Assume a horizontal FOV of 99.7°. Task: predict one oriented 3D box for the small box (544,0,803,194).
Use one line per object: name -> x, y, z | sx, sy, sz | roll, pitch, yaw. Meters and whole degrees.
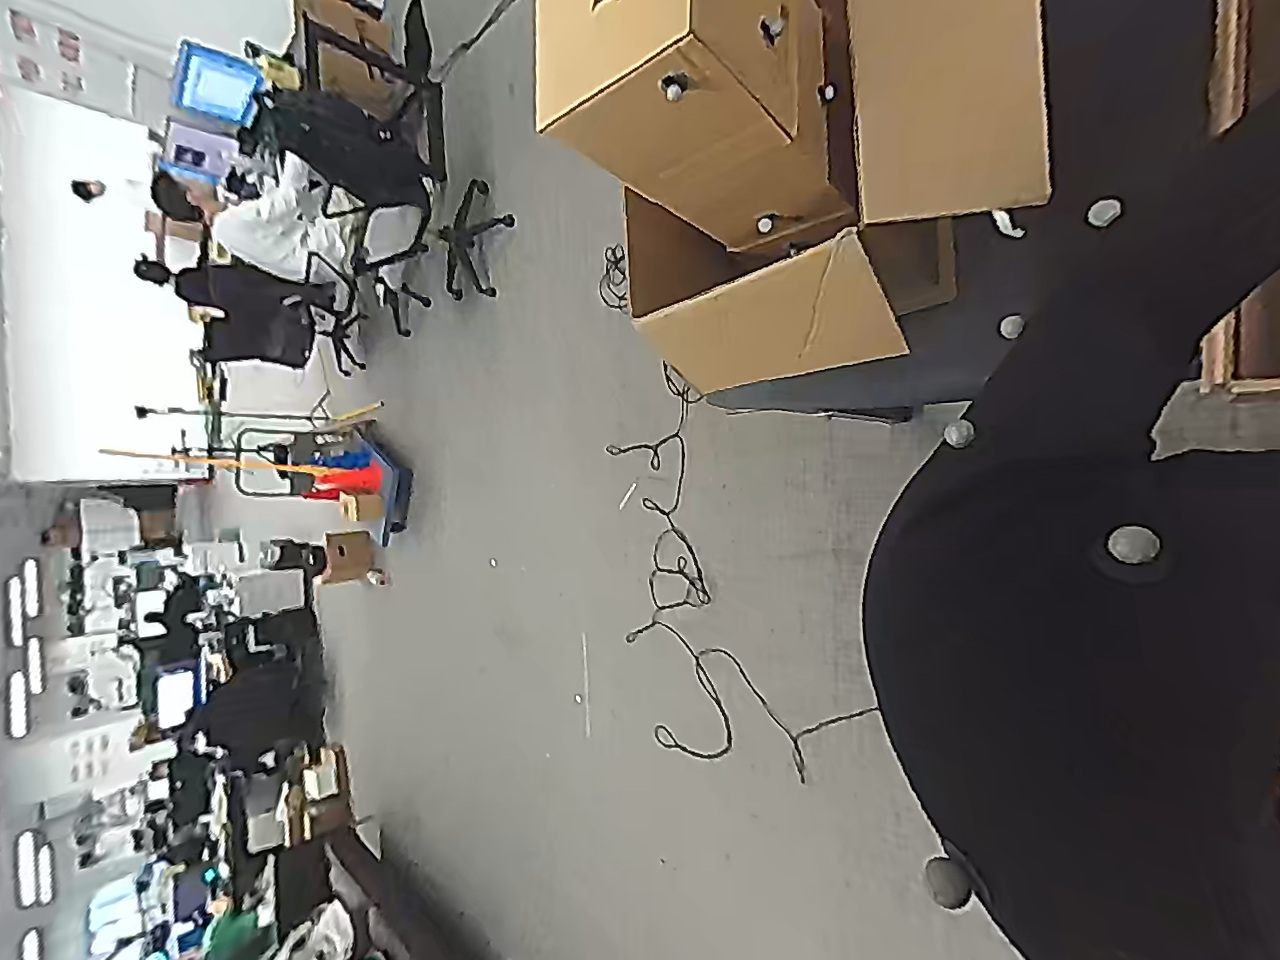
small box -> 0.032, -0.398, 0.499 | 0.179, 0.176, 0.168 | 0, 90, 40
